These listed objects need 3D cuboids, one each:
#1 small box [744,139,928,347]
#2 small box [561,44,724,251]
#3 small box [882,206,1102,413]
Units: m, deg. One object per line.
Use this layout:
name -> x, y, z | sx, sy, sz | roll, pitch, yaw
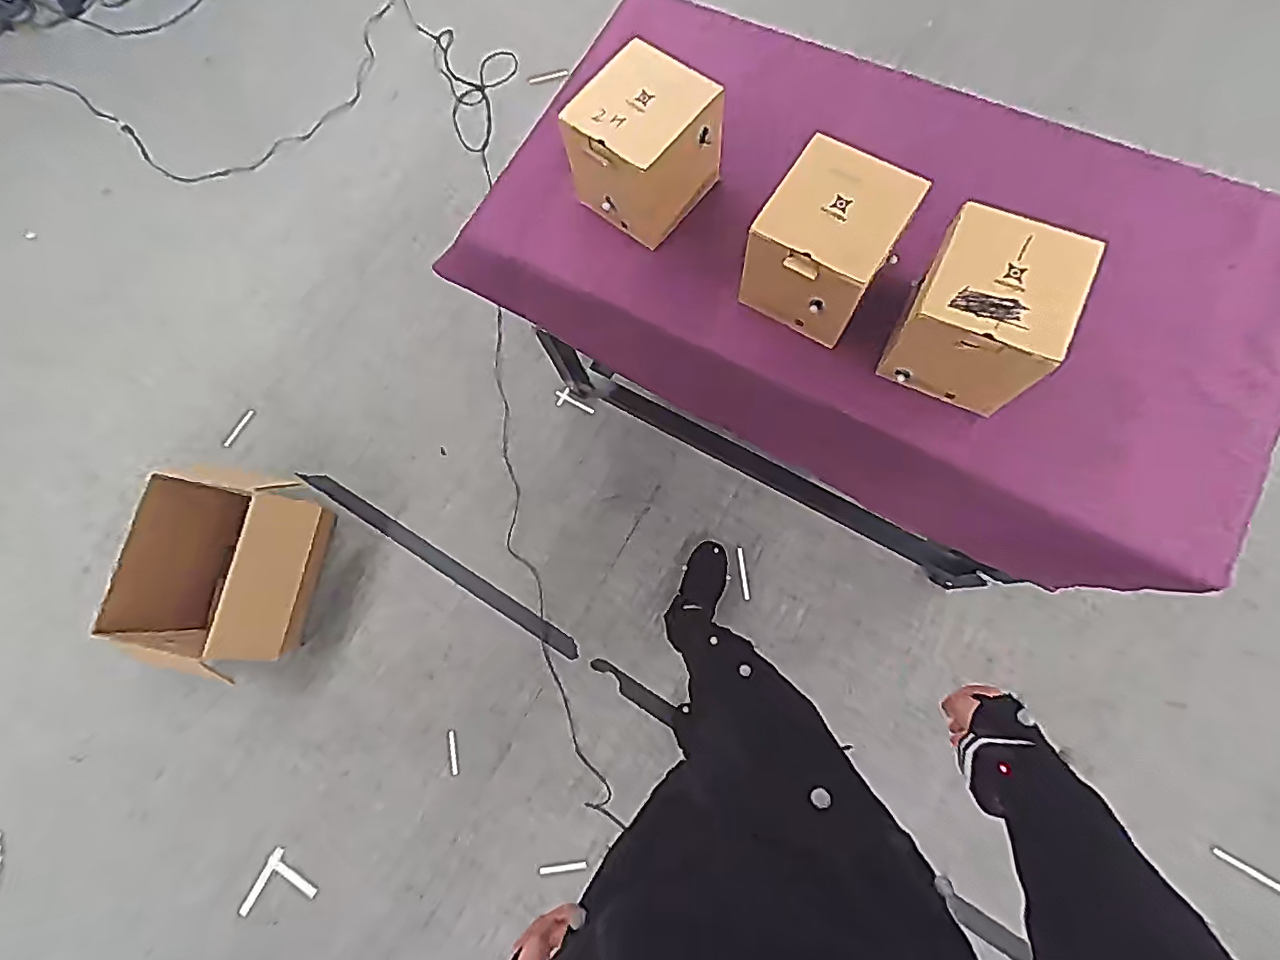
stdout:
small box -> 0.261, -0.322, 0.767 | 0.168, 0.176, 0.179 | 33, 81, 12
small box -> 0.008, -0.502, 0.835 | 0.168, 0.176, 0.179 | 39, 83, 14
small box -> 0.447, -0.214, 0.719 | 0.168, 0.176, 0.179 | 25, 78, 11
